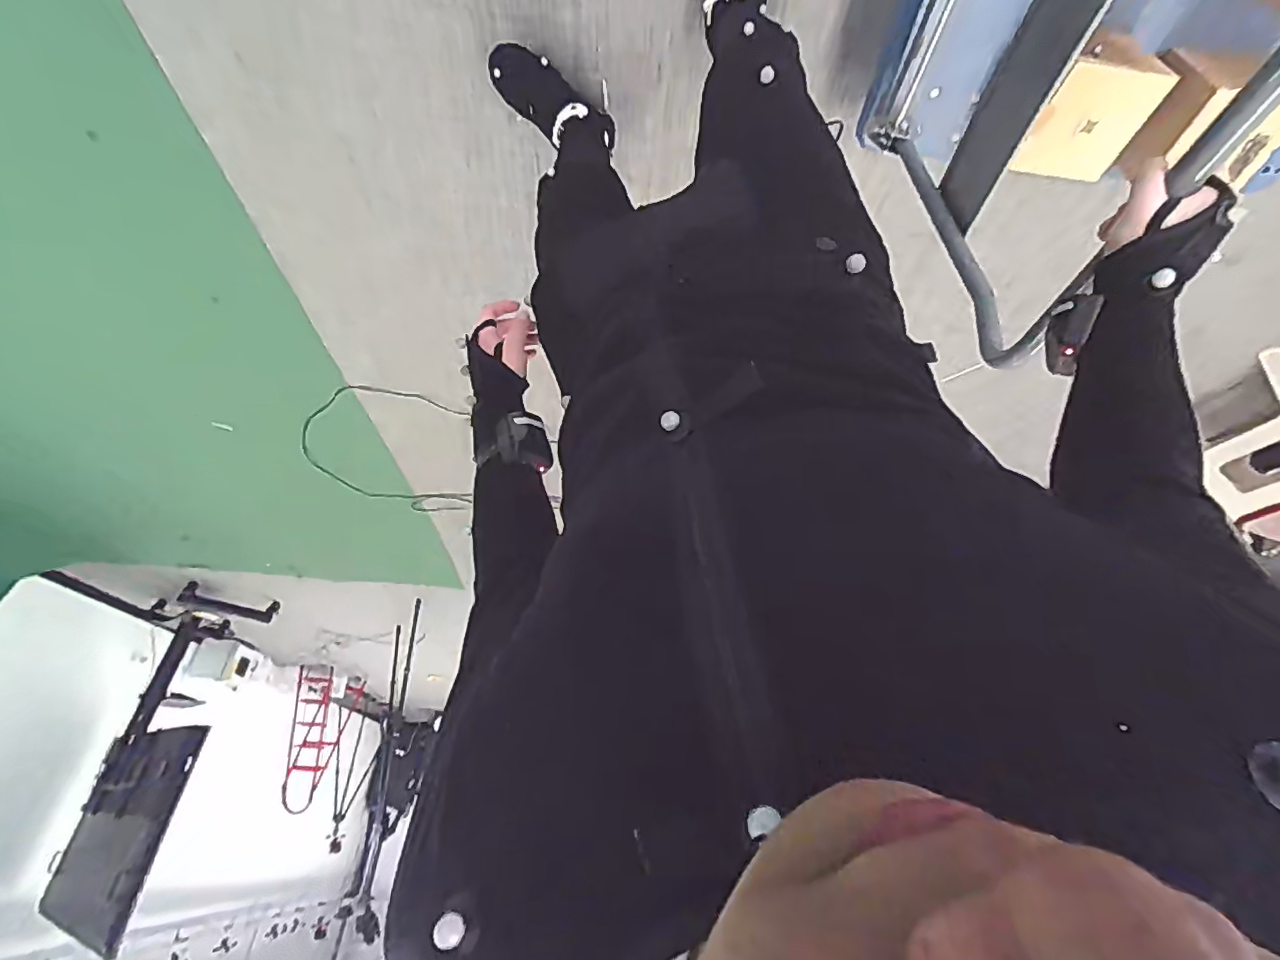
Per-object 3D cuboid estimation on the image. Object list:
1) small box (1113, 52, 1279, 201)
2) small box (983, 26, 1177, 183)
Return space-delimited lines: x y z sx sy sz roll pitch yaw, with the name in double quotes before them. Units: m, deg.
"small box" 0.995 -0.625 0.958 0.179 0.176 0.168 5 146 0
"small box" 0.748 -0.654 0.944 0.179 0.176 0.168 7 147 -3
